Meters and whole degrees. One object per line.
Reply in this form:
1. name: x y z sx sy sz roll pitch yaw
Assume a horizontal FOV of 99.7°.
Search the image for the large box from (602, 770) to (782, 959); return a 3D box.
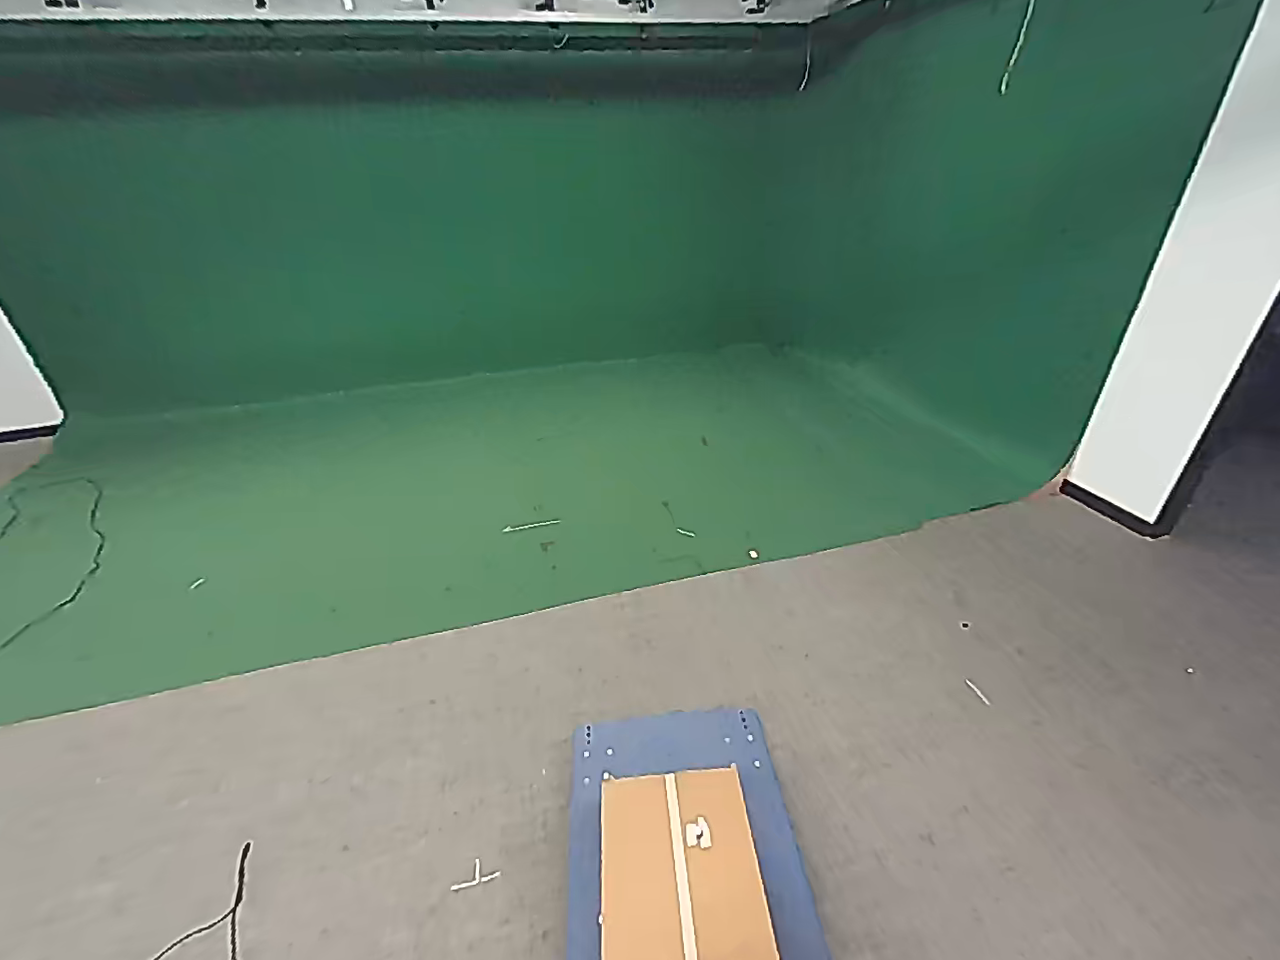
1. large box: 0.092 0.909 1.142 0.320 0.320 0.408 -4 29 -2
